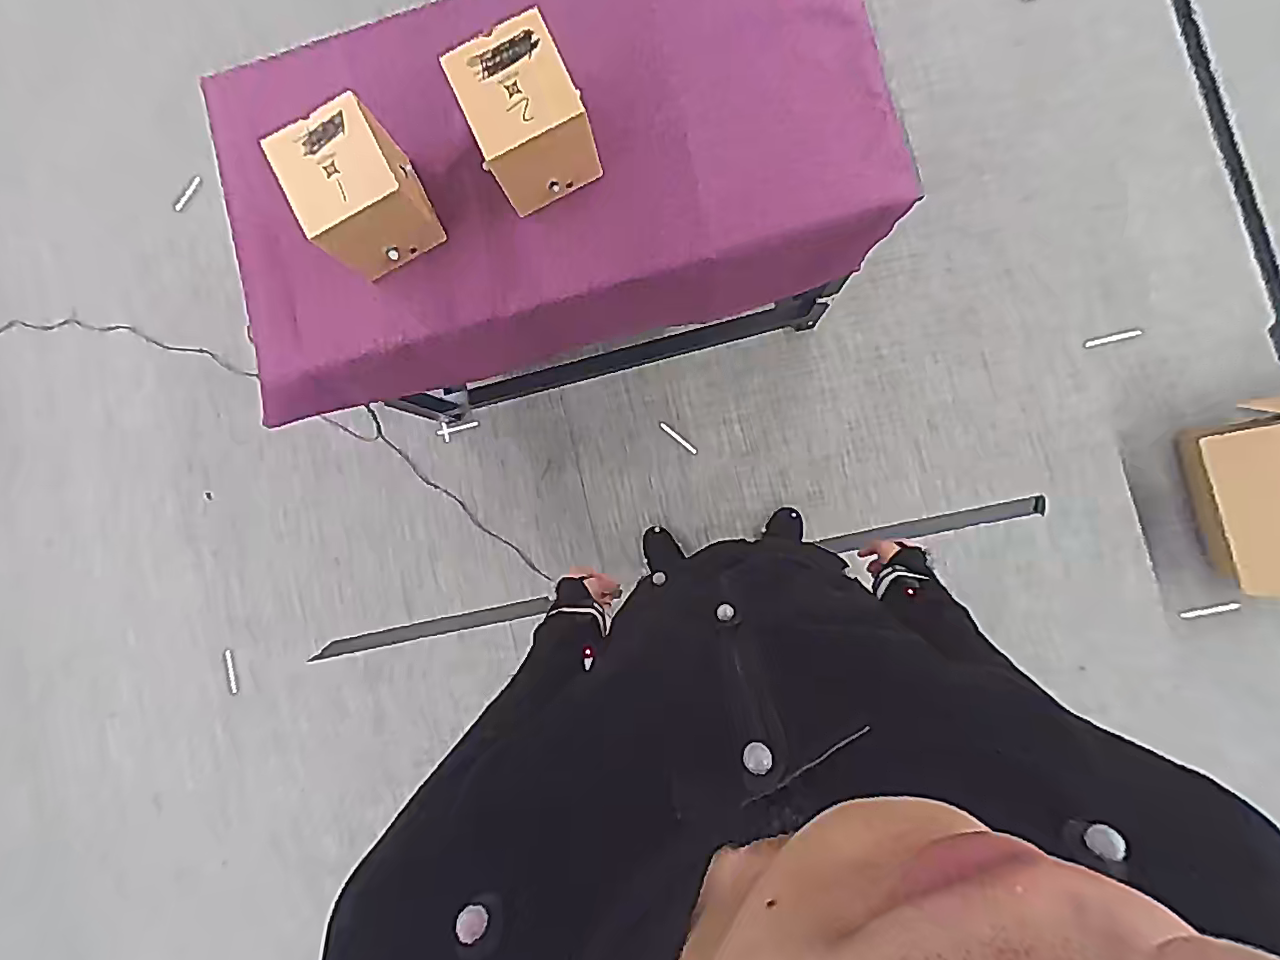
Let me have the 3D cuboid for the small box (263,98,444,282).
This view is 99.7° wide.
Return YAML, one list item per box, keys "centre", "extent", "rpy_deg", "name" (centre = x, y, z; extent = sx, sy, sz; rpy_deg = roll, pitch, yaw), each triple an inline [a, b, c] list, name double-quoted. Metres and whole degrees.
- centre: [-0.462, -0.466, 0.897]
  extent: [0.168, 0.176, 0.179]
  rpy_deg: [-27, 87, 4]
  name: "small box"
